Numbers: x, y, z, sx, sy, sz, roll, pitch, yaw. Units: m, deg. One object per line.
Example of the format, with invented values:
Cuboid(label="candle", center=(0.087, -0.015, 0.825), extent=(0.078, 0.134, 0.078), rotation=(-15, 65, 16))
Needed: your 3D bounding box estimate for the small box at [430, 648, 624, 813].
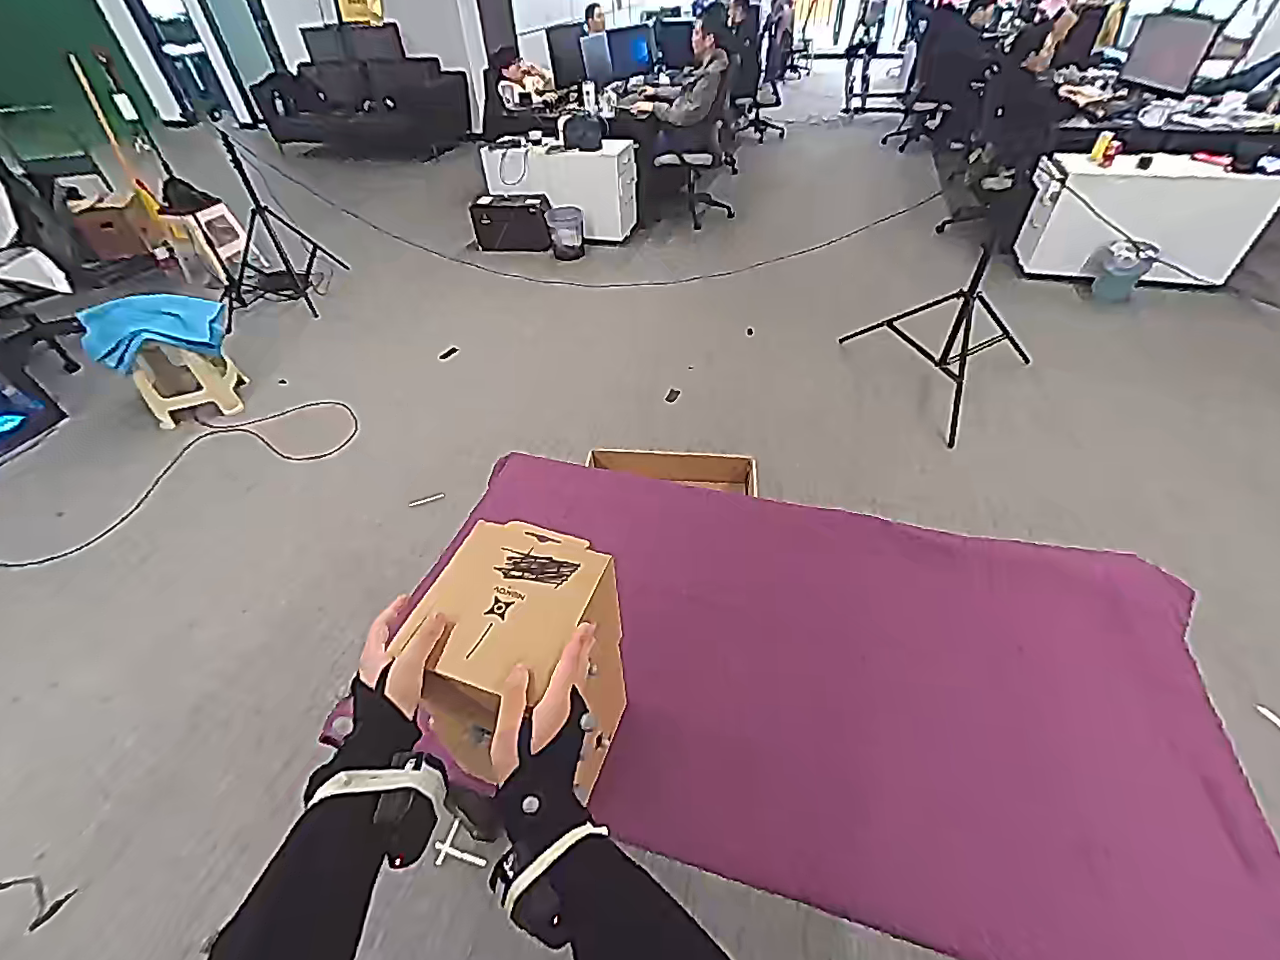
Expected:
Cuboid(label="small box", center=(-0.129, 0.302, 0.701), extent=(0.179, 0.176, 0.168), rotation=(13, 46, 17))

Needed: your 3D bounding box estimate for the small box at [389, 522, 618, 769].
Cuboid(label="small box", center=(-0.129, 0.179, 0.593), extent=(0.168, 0.176, 0.179), rotation=(13, 47, 16))
